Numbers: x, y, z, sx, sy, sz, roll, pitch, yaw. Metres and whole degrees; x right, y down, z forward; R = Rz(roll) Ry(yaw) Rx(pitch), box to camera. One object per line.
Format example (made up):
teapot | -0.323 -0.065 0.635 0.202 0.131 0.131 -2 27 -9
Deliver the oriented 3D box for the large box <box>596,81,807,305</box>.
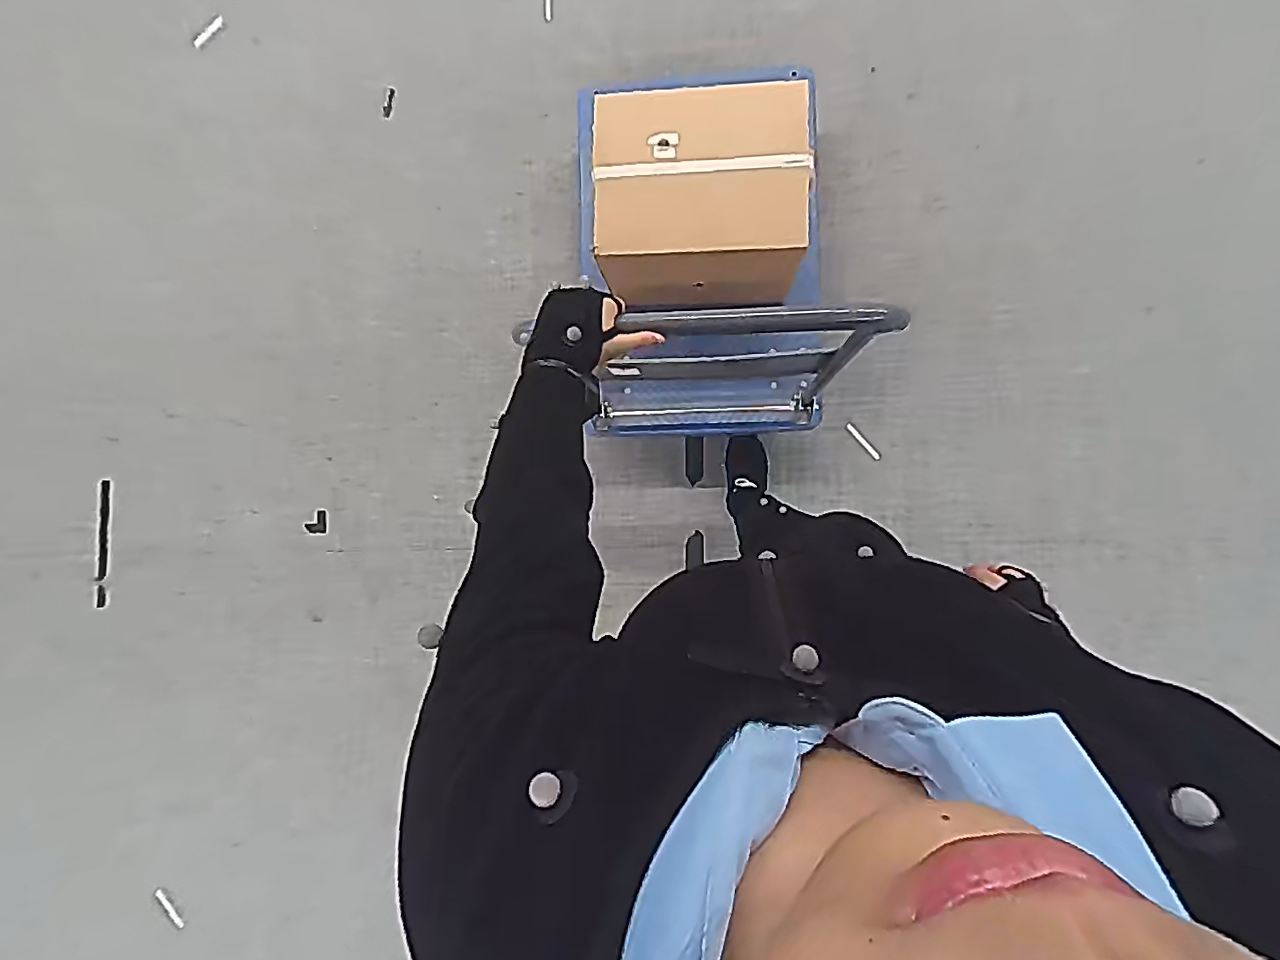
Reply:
large box | 0.134 -0.588 1.177 0.408 0.320 0.320 0 89 8
